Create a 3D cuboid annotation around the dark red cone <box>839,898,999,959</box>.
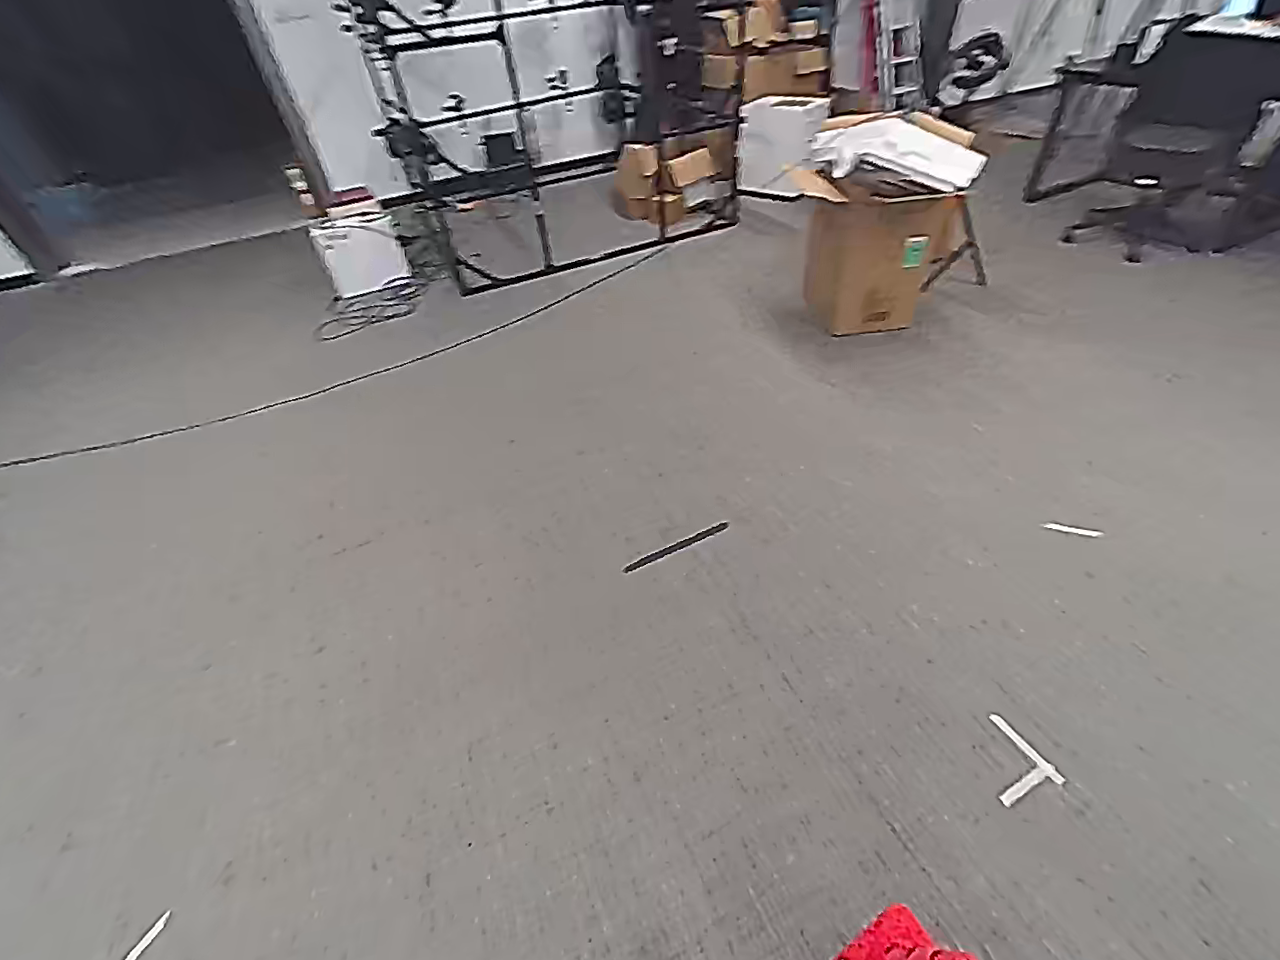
[{"bbox_3d":[0.464,0.774,0.835,0.202,0.394,0.201,-27,47,-20],"label":"dark red cone"}]
